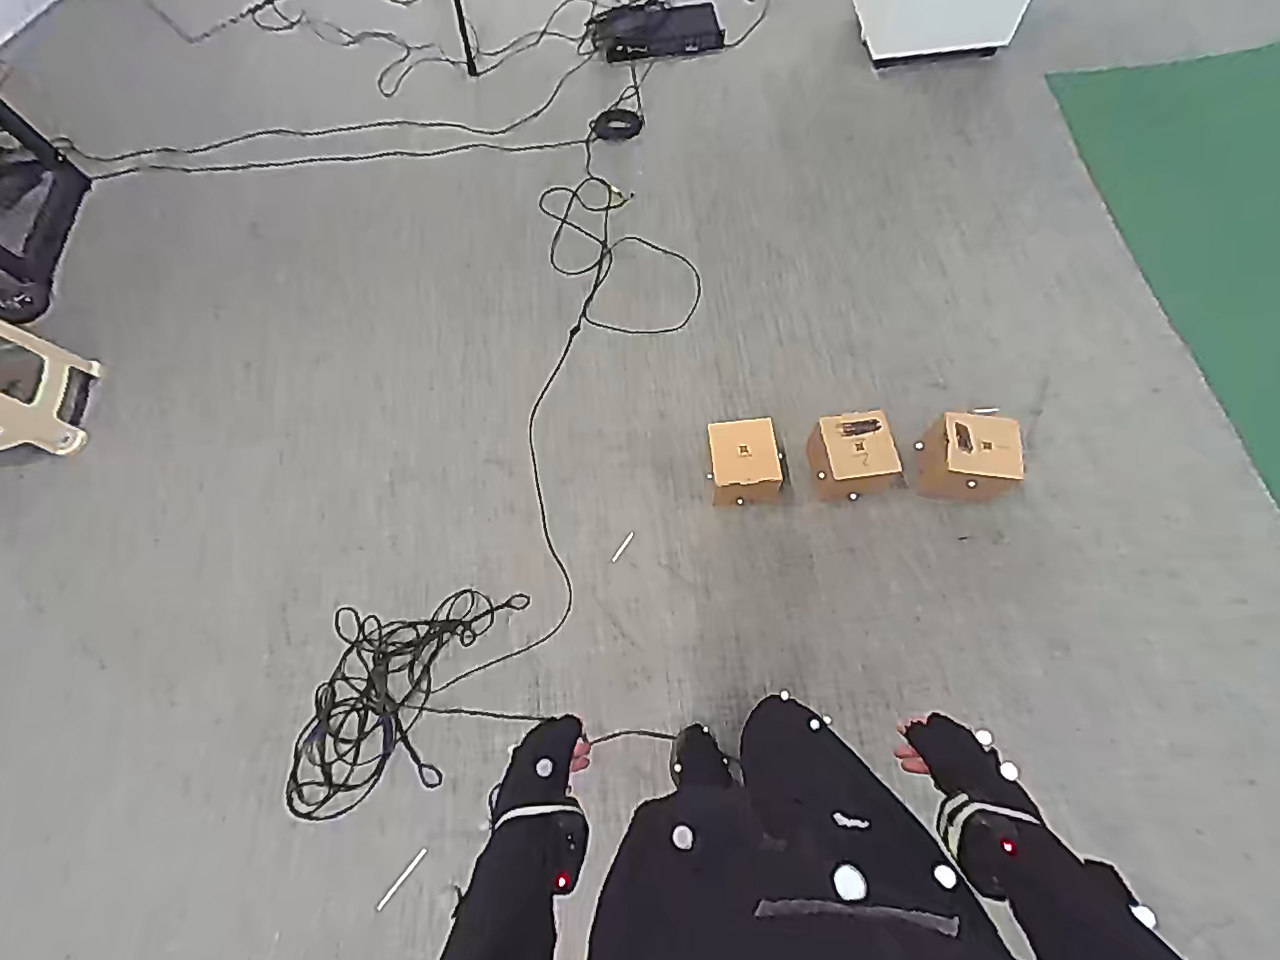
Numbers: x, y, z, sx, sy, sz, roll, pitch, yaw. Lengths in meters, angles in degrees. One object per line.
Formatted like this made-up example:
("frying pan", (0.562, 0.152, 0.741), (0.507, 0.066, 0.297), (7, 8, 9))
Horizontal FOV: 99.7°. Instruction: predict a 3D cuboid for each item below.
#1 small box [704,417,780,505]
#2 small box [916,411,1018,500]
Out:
("small box", (0.263, -0.047, 1.436), (0.168, 0.176, 0.179), (-6, 68, 2))
("small box", (0.832, -0.057, 1.395), (0.179, 0.176, 0.168), (8, 69, 6))
